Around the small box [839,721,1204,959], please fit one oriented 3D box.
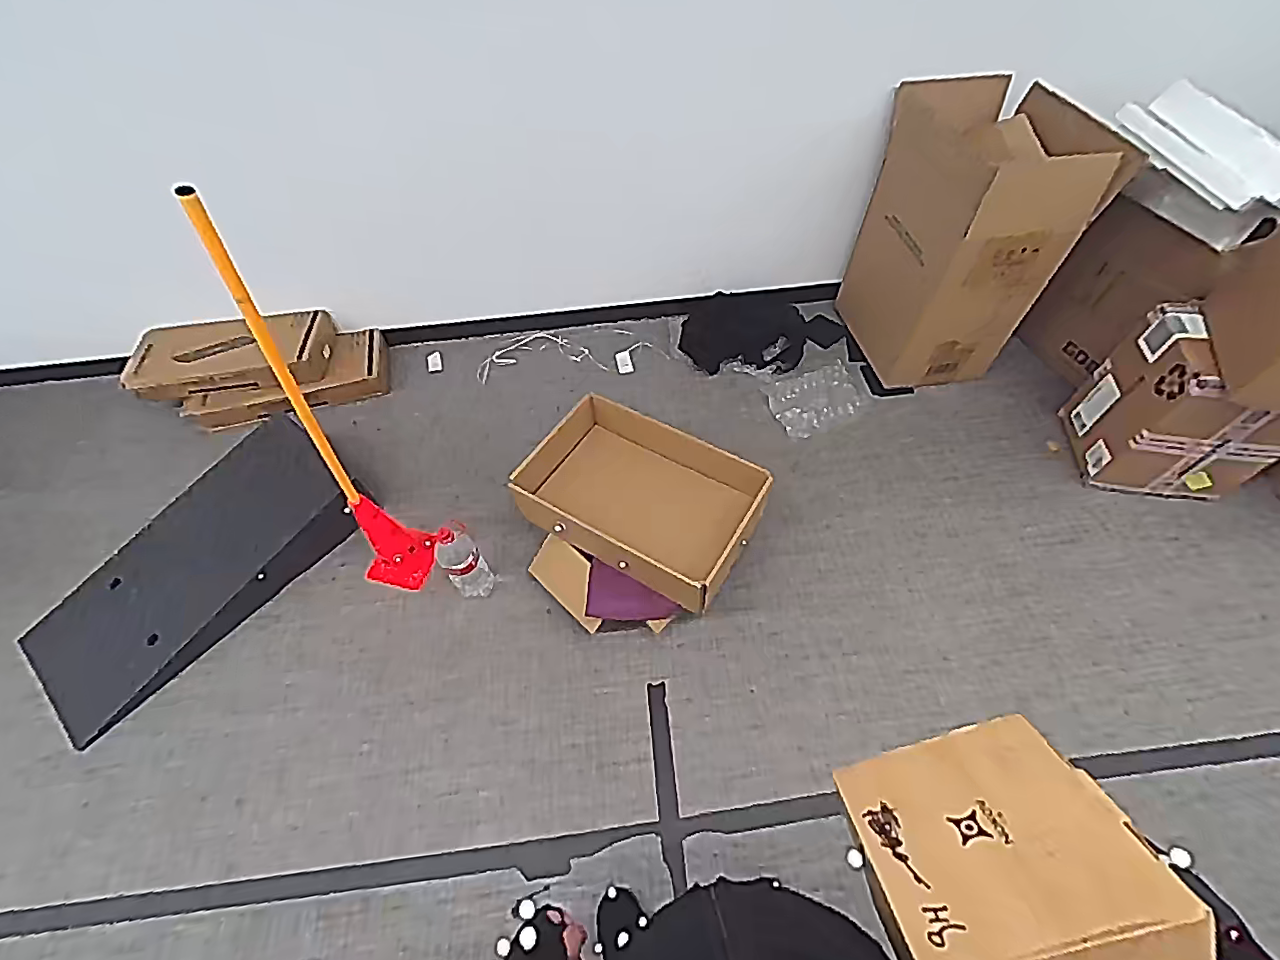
[{"bbox_3d":[0.290,0.340,0.439,0.179,0.176,0.168,-20,16,5],"label":"small box"}]
